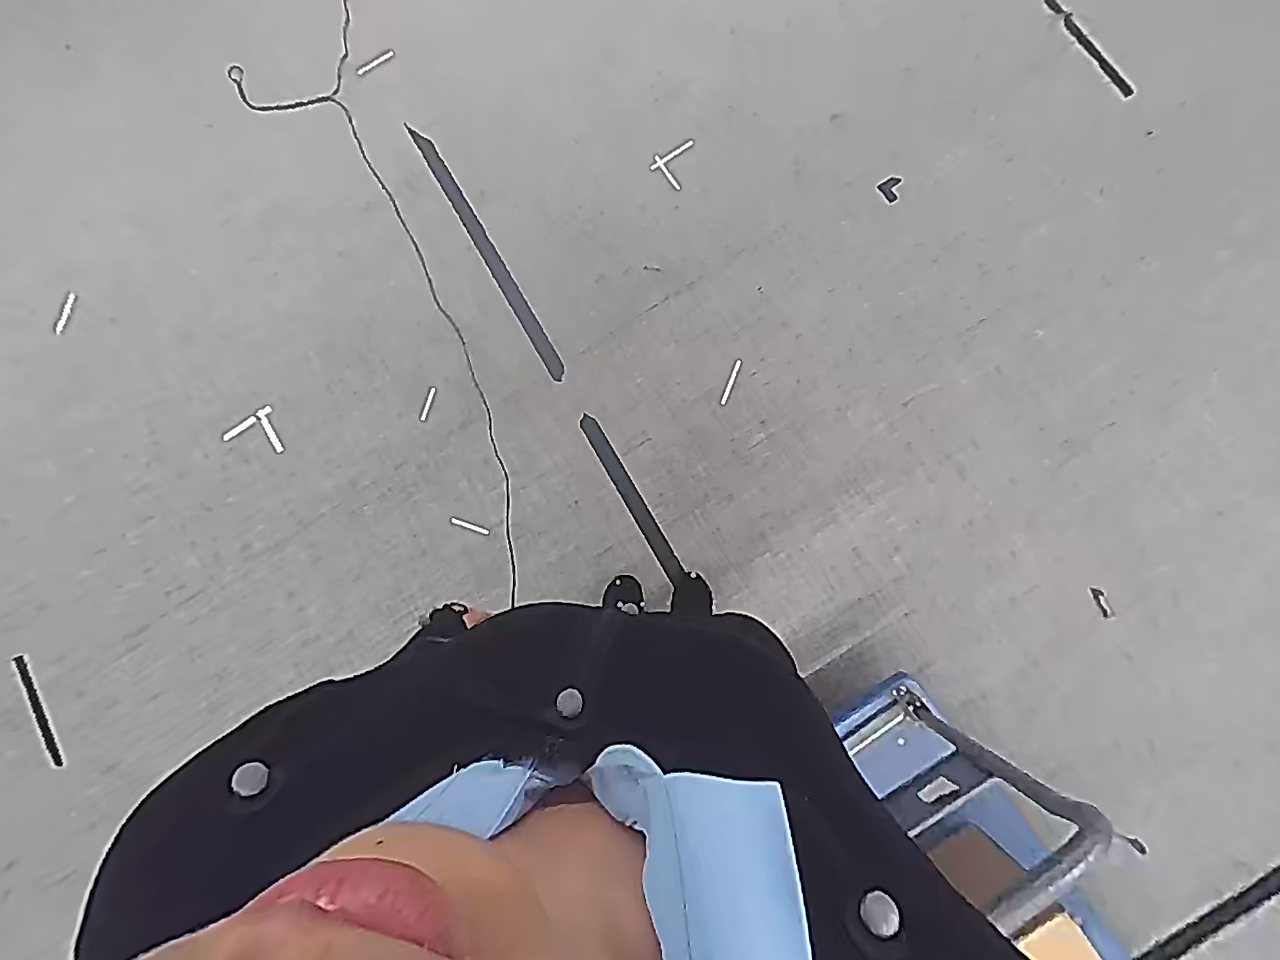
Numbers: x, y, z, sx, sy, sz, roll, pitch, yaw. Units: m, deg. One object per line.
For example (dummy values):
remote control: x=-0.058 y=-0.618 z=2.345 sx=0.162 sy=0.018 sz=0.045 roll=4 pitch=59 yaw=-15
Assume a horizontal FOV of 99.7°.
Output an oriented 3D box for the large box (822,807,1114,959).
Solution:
large box: x=0.630 y=0.930 z=1.023 sx=0.408 sy=0.320 sz=0.320 roll=-35 pitch=81 yaw=-2
